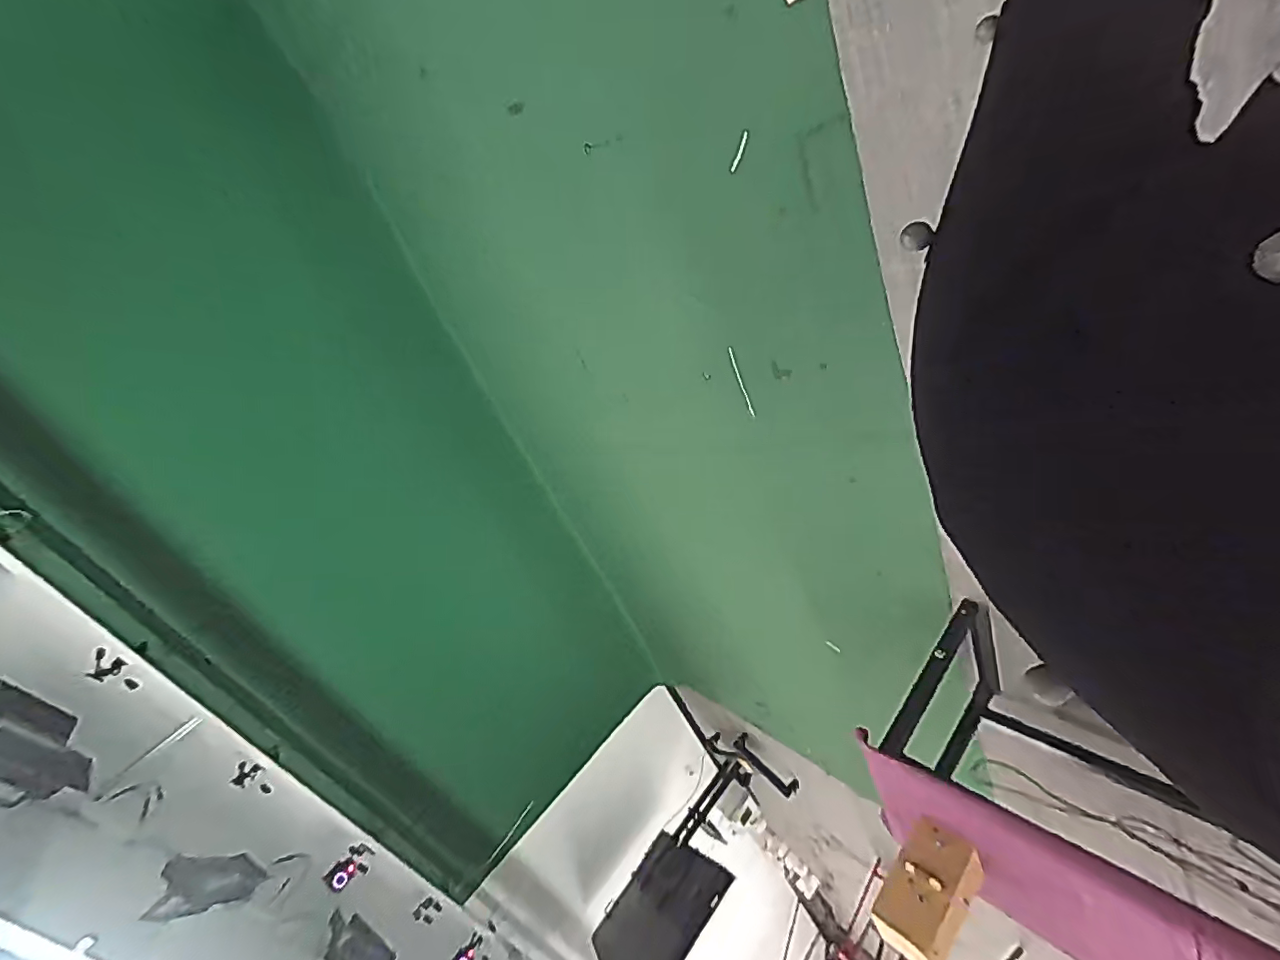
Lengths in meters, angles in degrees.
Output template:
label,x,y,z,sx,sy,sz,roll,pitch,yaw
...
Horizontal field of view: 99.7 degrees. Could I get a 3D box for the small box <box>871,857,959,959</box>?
label,x,y,z,sx,sy,sz,roll,pitch,yaw
small box,0.811,1.268,1.586,0.168,0.176,0.179,10,134,51

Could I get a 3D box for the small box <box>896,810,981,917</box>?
label,x,y,z,sx,sy,sz,roll,pitch,yaw
small box,0.919,1.166,1.655,0.168,0.176,0.179,8,134,51
